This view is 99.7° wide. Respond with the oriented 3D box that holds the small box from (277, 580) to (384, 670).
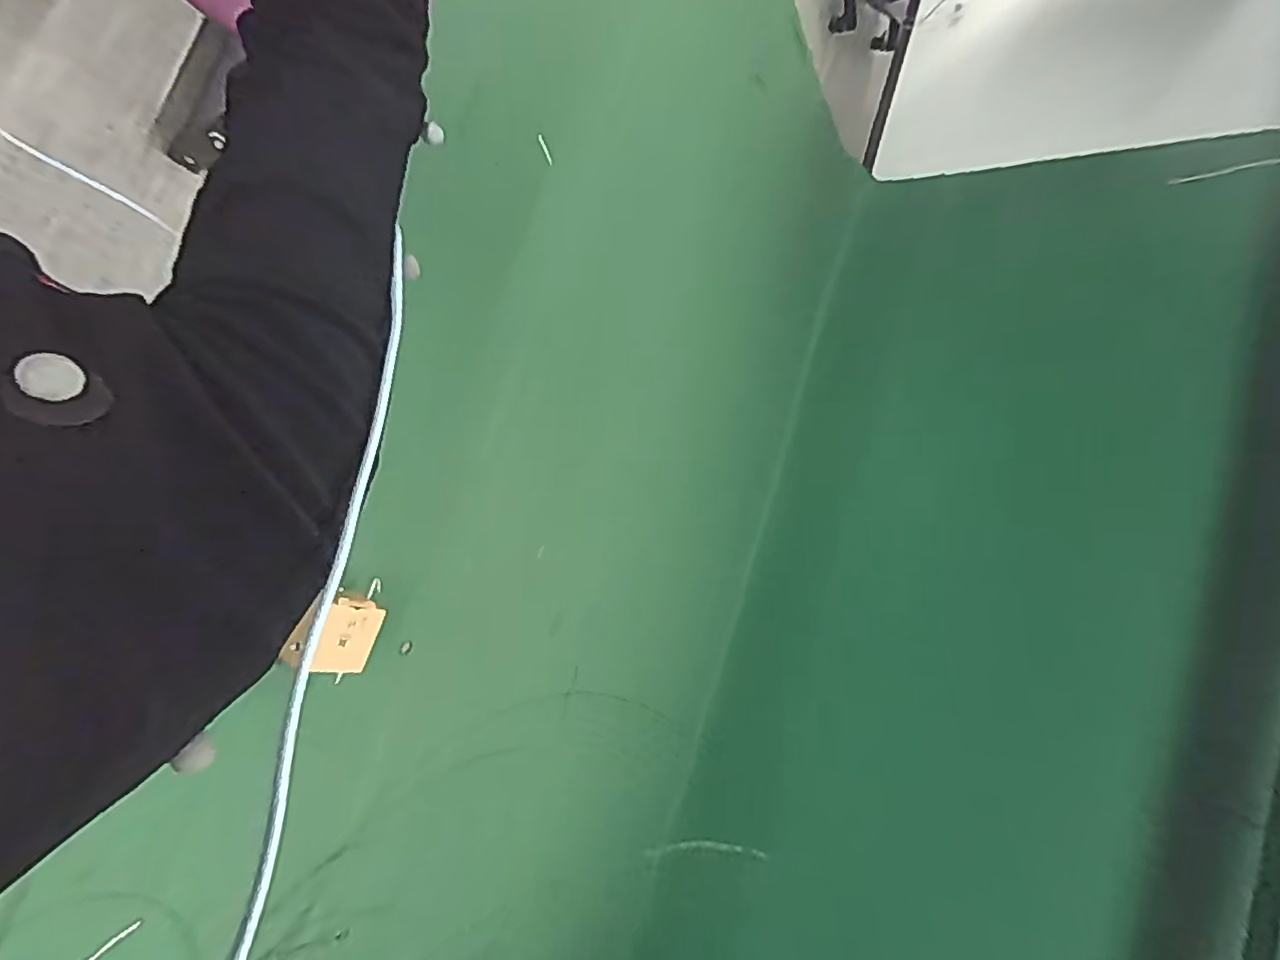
[{"bbox_3d":[-0.821,0.383,1.426,0.168,0.176,0.179,29,78,-53],"label":"small box"}]
